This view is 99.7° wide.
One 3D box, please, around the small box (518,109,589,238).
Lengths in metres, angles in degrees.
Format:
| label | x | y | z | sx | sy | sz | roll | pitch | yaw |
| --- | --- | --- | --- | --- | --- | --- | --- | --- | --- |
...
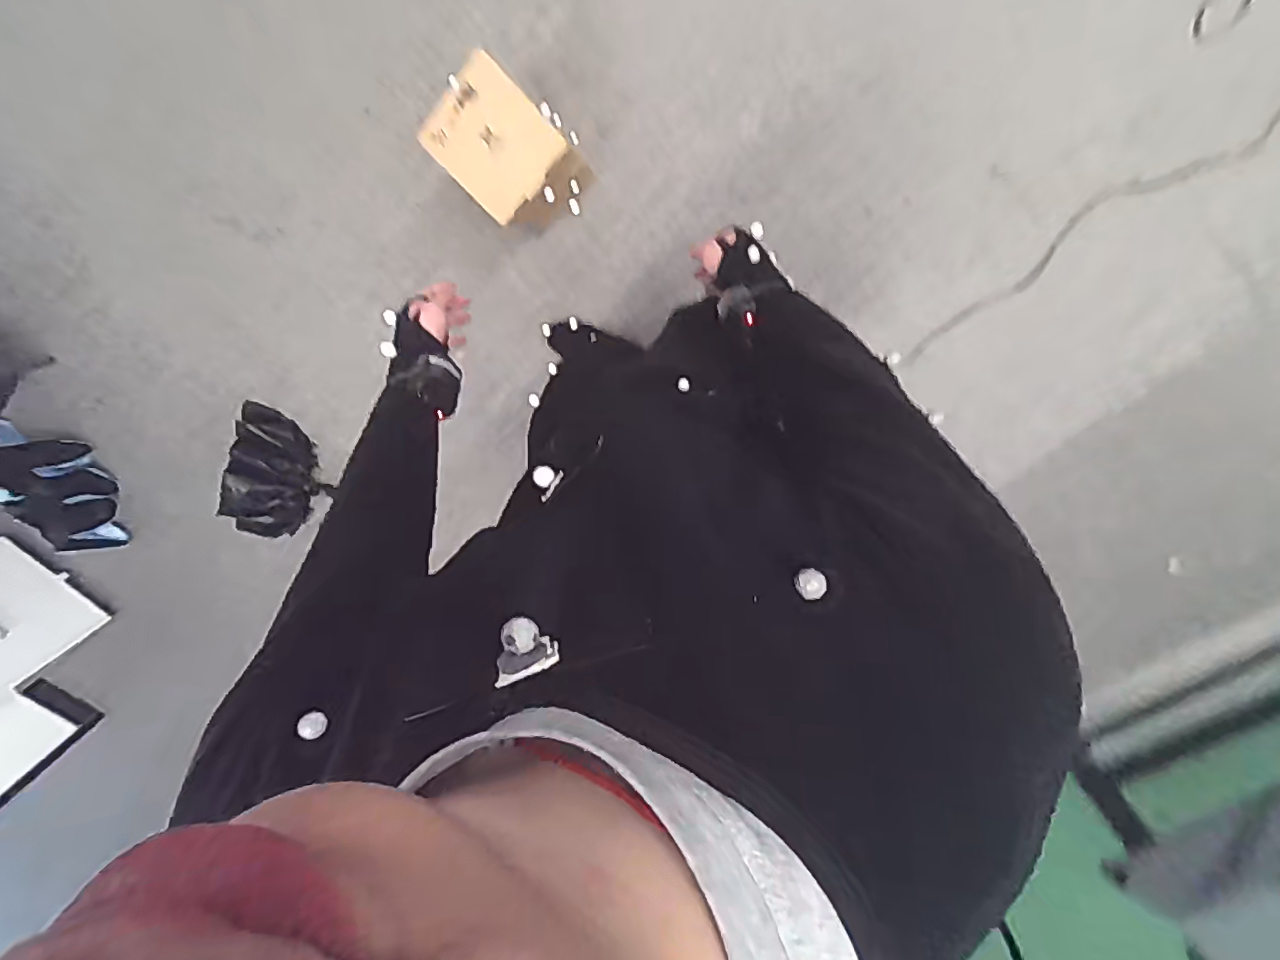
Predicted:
| label | x | y | z | sx | sy | sz | roll | pitch | yaw |
| --- | --- | --- | --- | --- | --- | --- | --- | --- | --- |
| small box | -0.219 | -0.603 | 1.057 | 0.168 | 0.176 | 0.179 | -40 | 105 | 18 |

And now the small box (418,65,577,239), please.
| label | x | y | z | sx | sy | sz | roll | pitch | yaw |
| --- | --- | --- | --- | --- | --- | --- | --- | --- | --- |
| small box | -0.226 | -0.537 | 0.908 | 0.168 | 0.176 | 0.179 | -42 | 107 | 18 |

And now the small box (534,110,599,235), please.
| label | x | y | z | sx | sy | sz | roll | pitch | yaw |
| --- | --- | --- | --- | --- | --- | --- | --- | --- | --- |
| small box | -0.212 | -0.670 | 1.204 | 0.168 | 0.176 | 0.179 | -39 | 107 | 18 |
